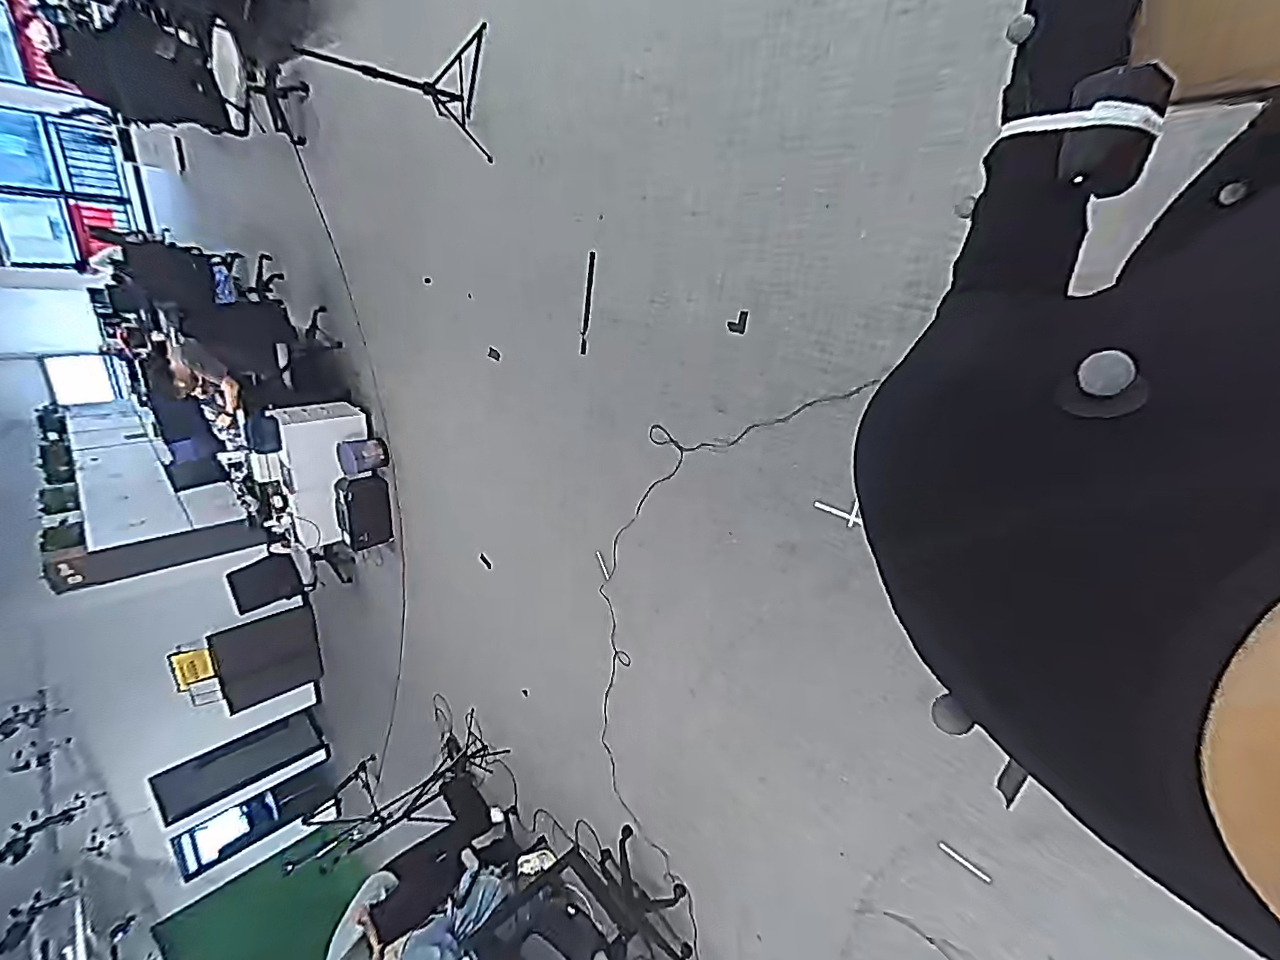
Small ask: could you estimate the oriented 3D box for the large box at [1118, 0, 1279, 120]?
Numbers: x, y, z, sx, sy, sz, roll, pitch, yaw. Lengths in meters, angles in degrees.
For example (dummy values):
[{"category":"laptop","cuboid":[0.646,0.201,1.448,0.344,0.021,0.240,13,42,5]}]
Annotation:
[{"category":"large box","cuboid":[0.569,-0.414,0.291,0.408,0.320,0.320,18,127,39]}]
